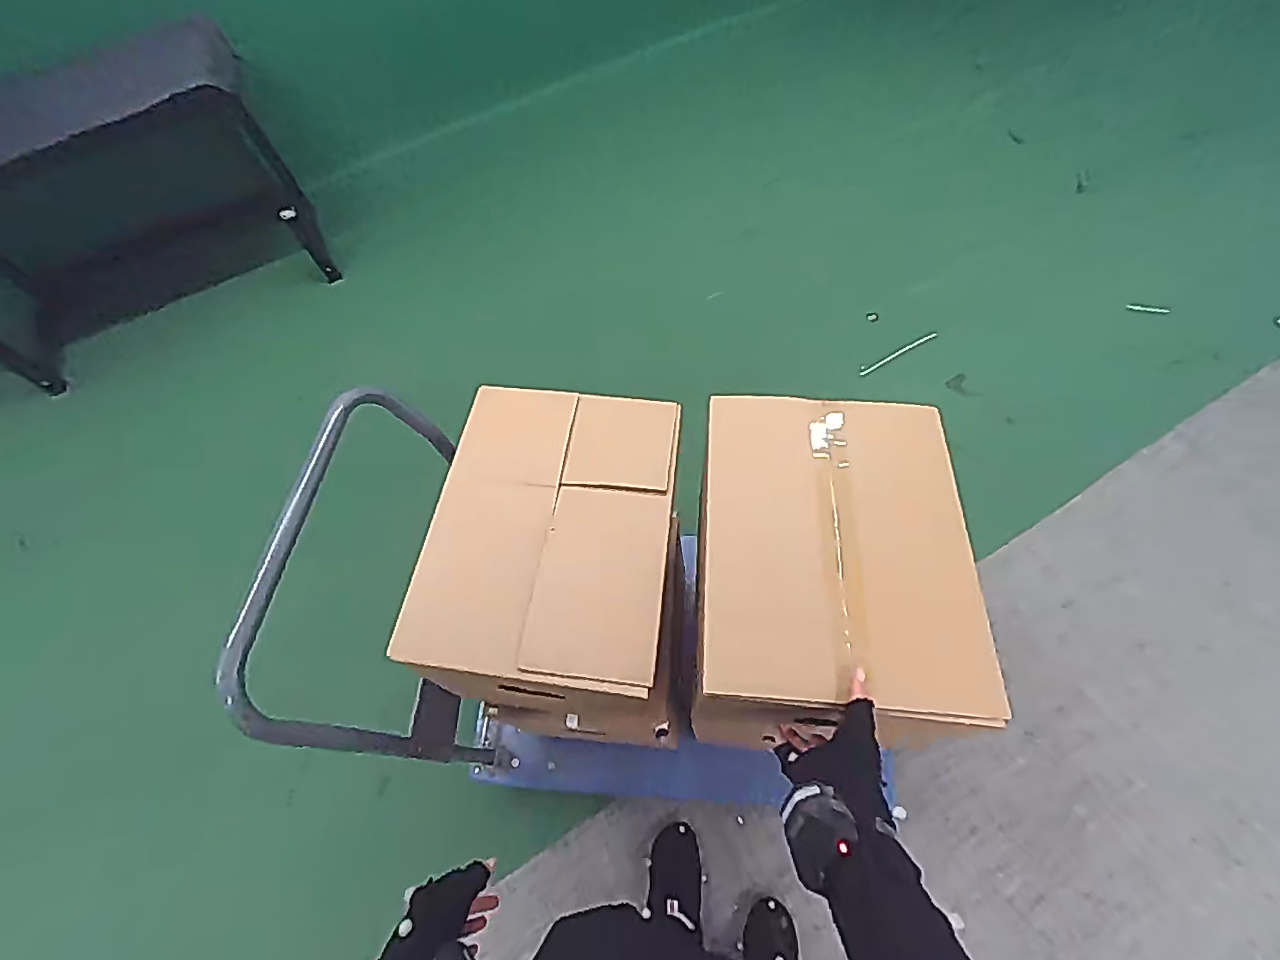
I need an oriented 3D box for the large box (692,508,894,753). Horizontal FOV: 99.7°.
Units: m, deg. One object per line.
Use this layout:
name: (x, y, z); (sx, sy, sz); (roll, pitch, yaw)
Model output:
large box: (0.269, 0.299, 1.065); (0.320, 0.320, 0.408); (0, 61, 10)
